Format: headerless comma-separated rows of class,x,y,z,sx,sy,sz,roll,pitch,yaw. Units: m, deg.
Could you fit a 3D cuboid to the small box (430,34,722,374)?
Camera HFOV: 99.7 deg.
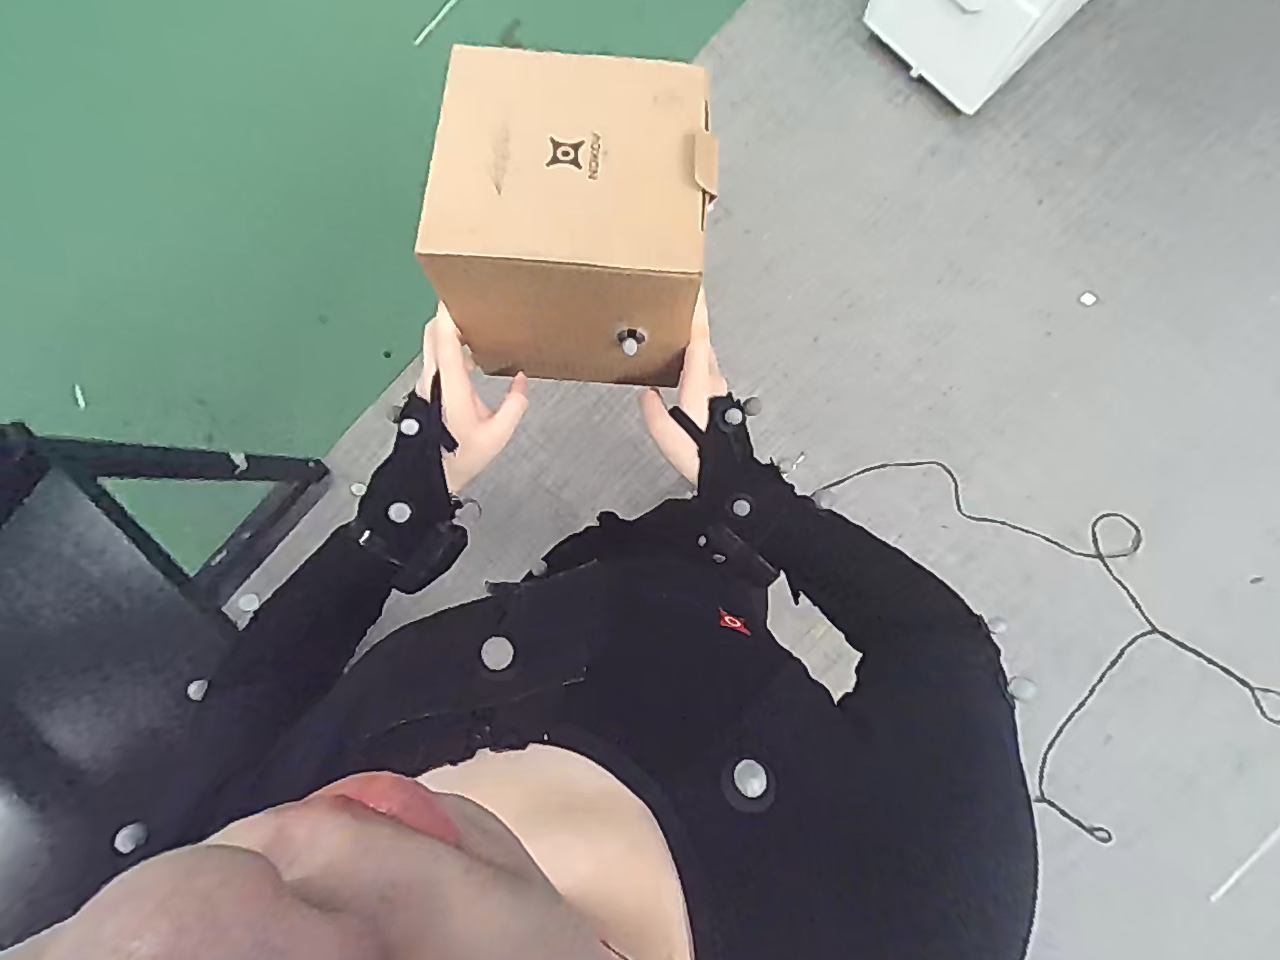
small box,-0.038,-0.196,0.425,0.179,0.176,0.168,4,74,-1
